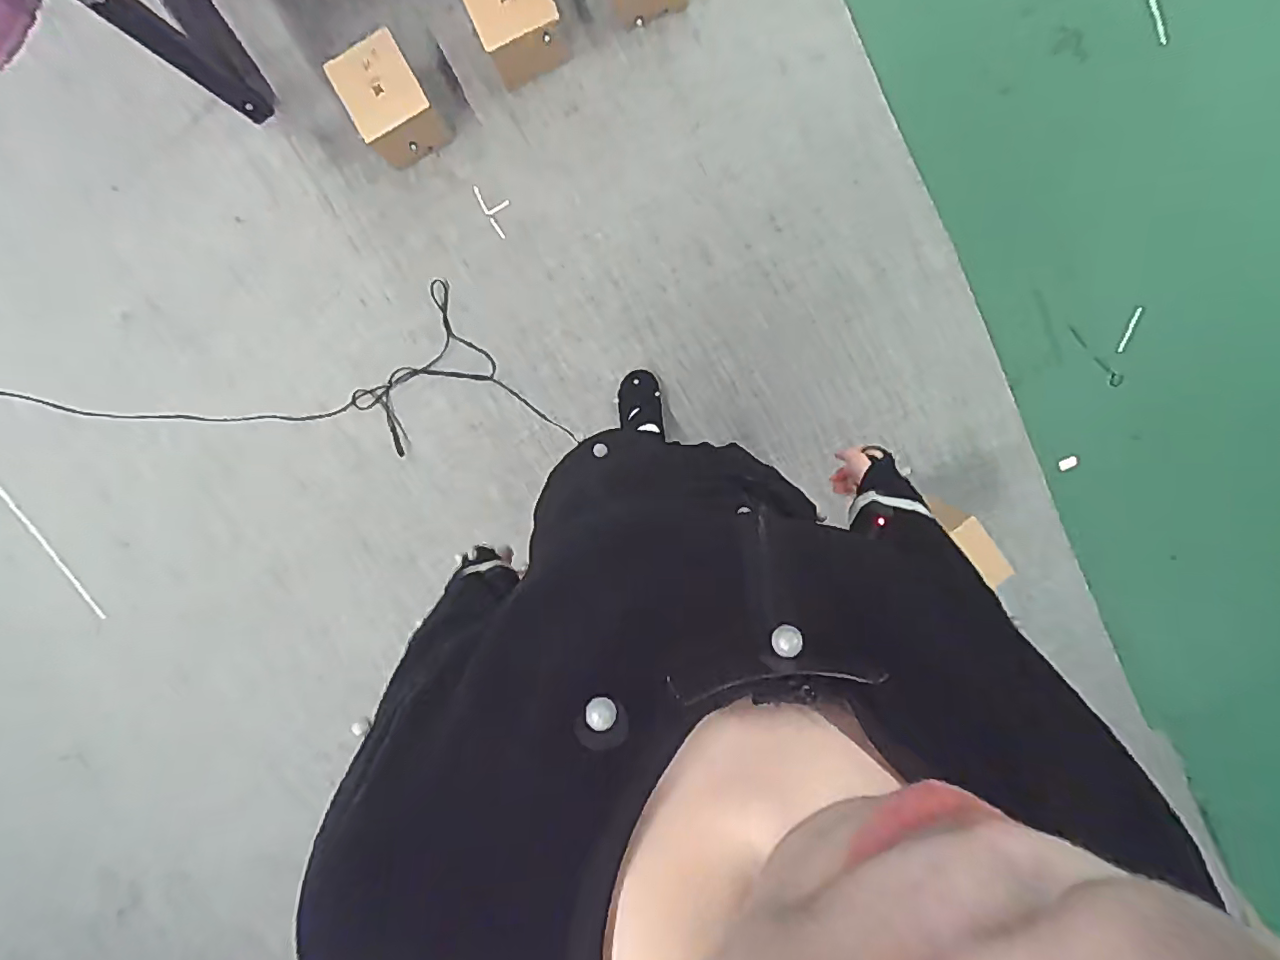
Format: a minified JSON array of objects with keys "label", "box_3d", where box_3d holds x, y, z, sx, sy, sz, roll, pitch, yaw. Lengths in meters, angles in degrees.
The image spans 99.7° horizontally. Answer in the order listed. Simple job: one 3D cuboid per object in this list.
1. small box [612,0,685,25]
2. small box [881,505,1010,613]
[{"label":"small box","box_3d":[0.008,-1.165,1.200,0.168,0.176,0.179,-20,99,2]},{"label":"small box","box_3d":[0.710,0.175,1.280,0.168,0.176,0.179,-39,99,6]}]
